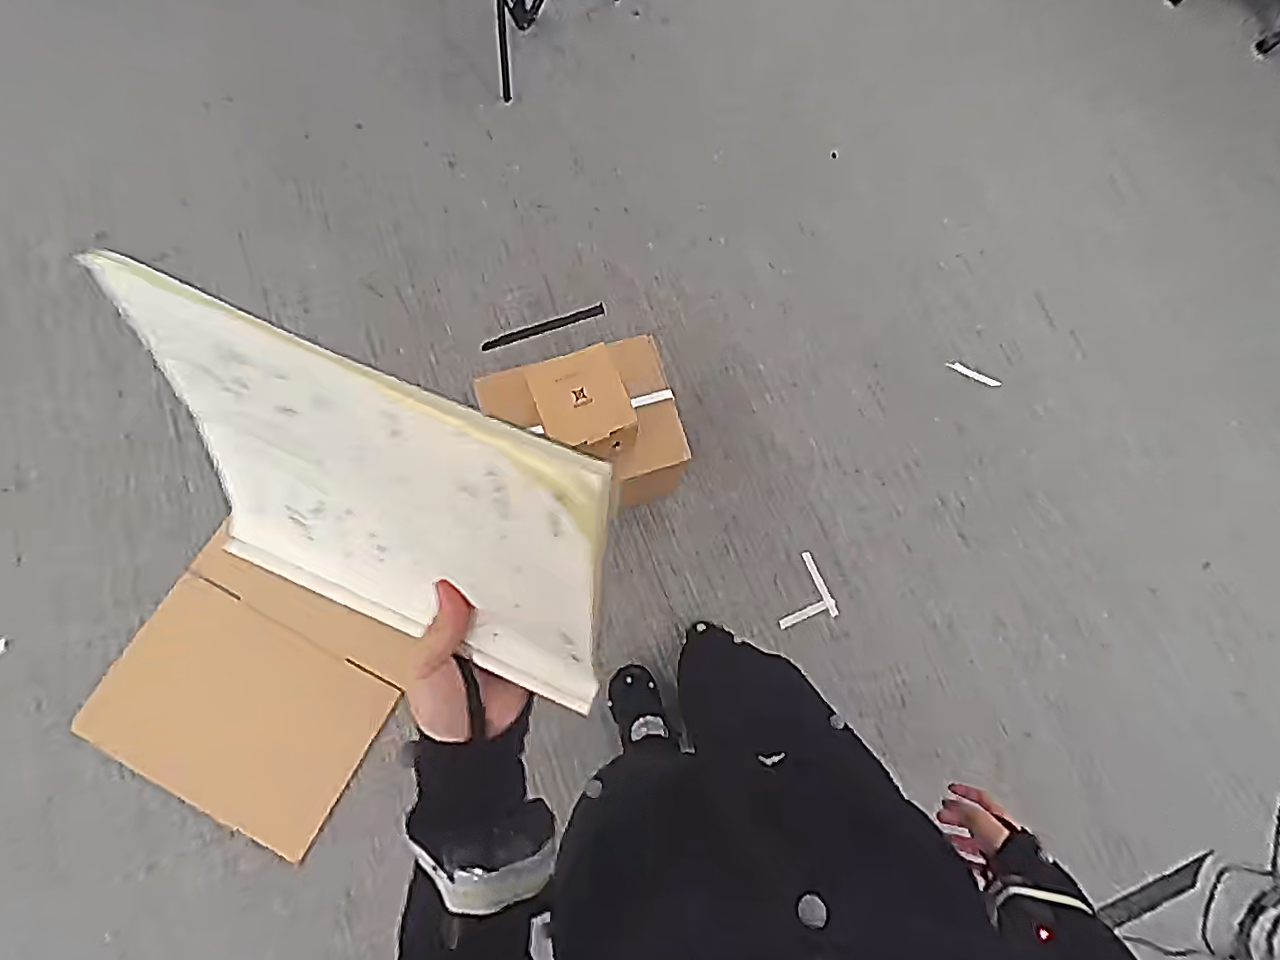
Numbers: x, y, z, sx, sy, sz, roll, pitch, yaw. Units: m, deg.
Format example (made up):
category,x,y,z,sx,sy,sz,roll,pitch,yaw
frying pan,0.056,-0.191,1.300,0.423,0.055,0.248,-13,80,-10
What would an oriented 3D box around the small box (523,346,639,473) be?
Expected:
category,x,y,z,sx,sy,sz,roll,pitch,yaw
small box,-0.111,-0.125,1.057,0.168,0.176,0.179,-22,78,-10
